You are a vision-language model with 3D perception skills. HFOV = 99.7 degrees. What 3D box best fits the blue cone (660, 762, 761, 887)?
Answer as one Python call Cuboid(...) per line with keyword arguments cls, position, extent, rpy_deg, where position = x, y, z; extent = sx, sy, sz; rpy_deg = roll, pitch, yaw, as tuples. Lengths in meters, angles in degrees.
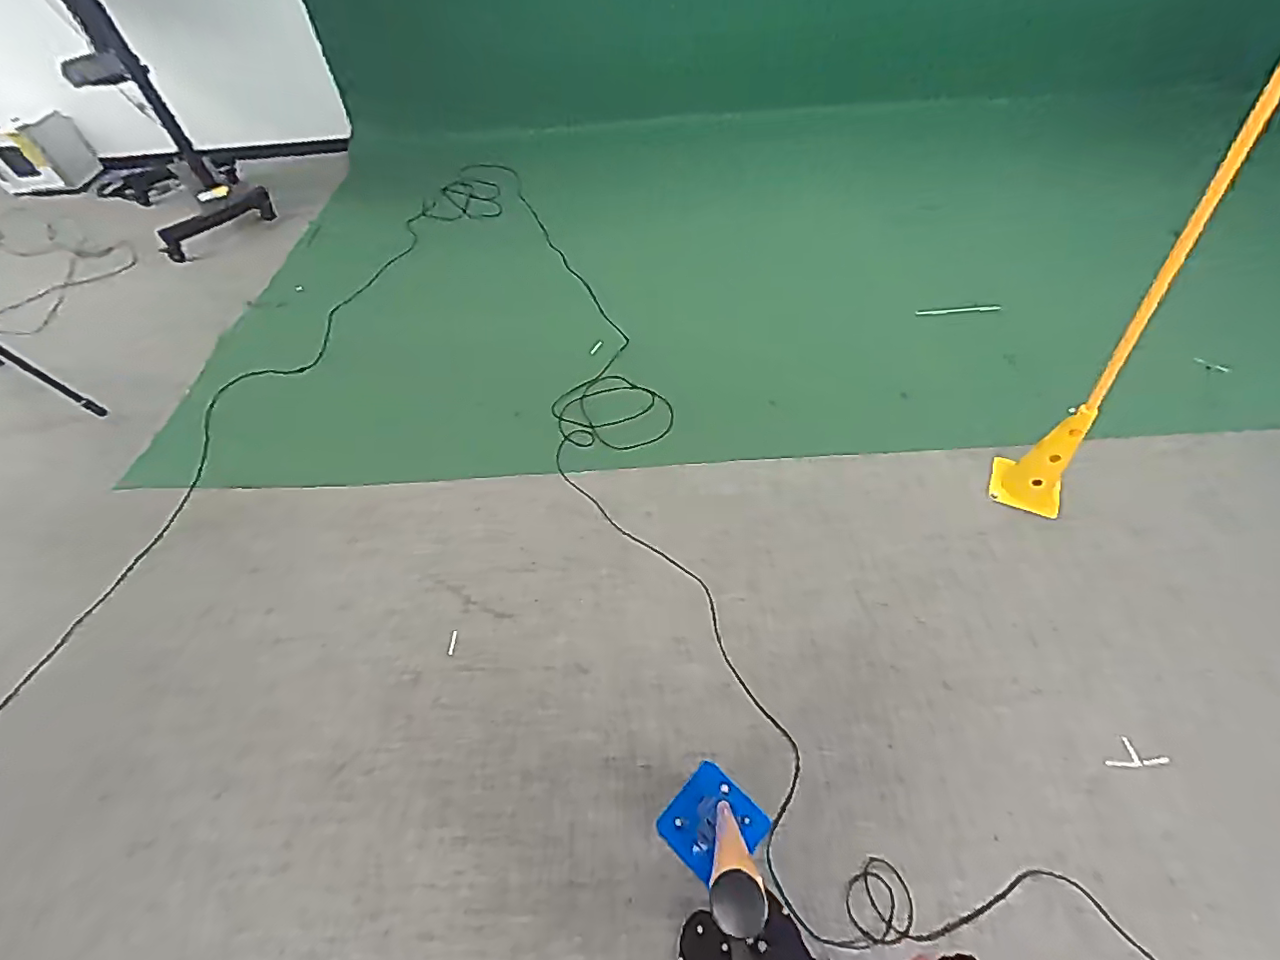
Cuboid(cls="blue cone", position=(0.152, 0.683, 1.095), extent=(0.192, 0.380, 0.193), rpy_deg=(35, 64, 26))
